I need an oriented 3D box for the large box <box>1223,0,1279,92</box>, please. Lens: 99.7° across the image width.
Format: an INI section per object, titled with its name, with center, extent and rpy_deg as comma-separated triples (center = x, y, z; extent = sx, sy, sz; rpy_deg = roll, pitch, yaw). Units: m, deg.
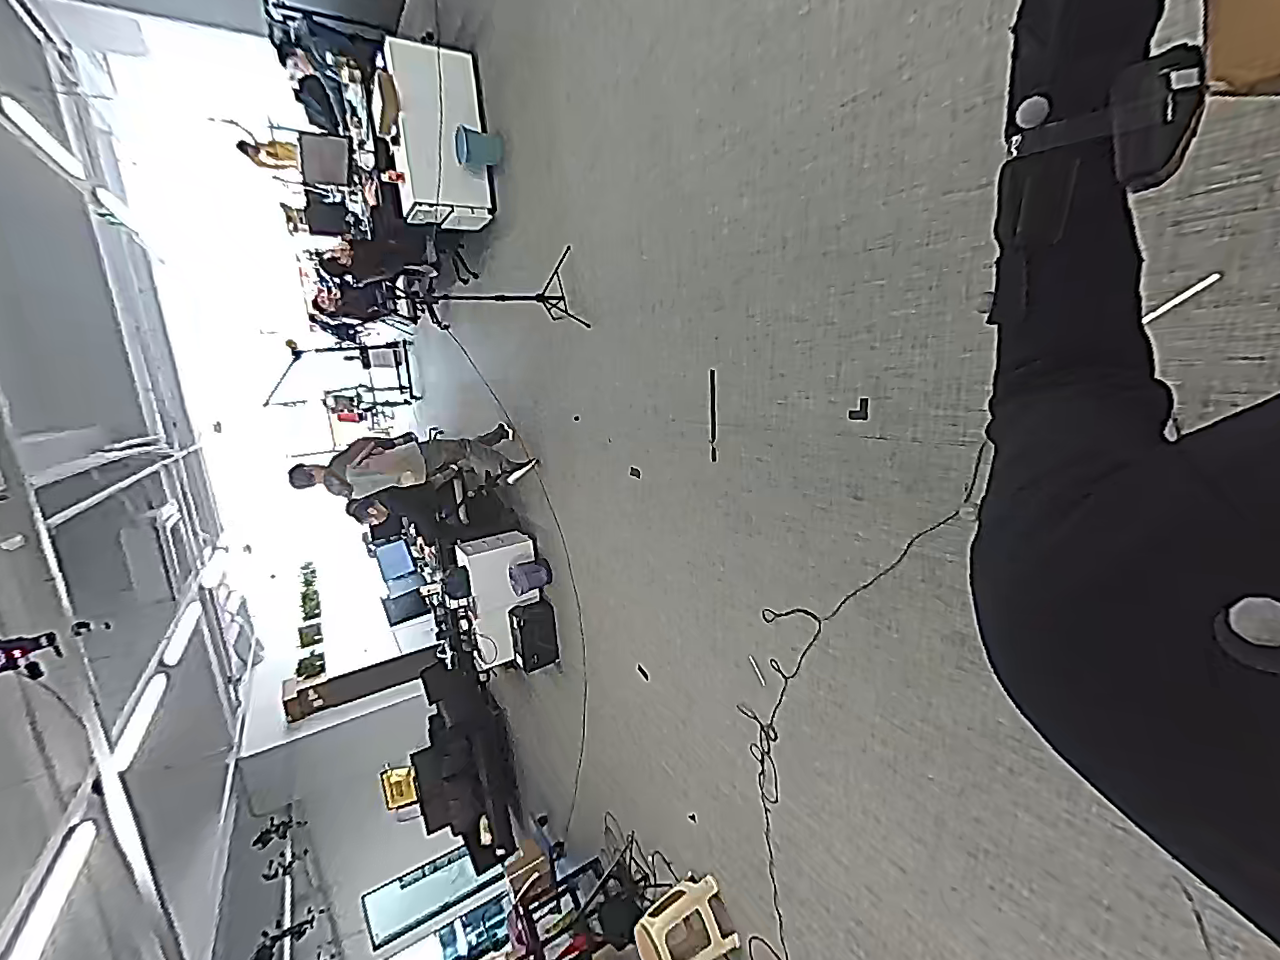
[large box]
center = 0.493, -0.384, 0.159
extent = 0.408, 0.320, 0.320
rpy_deg = 7, 117, 56
